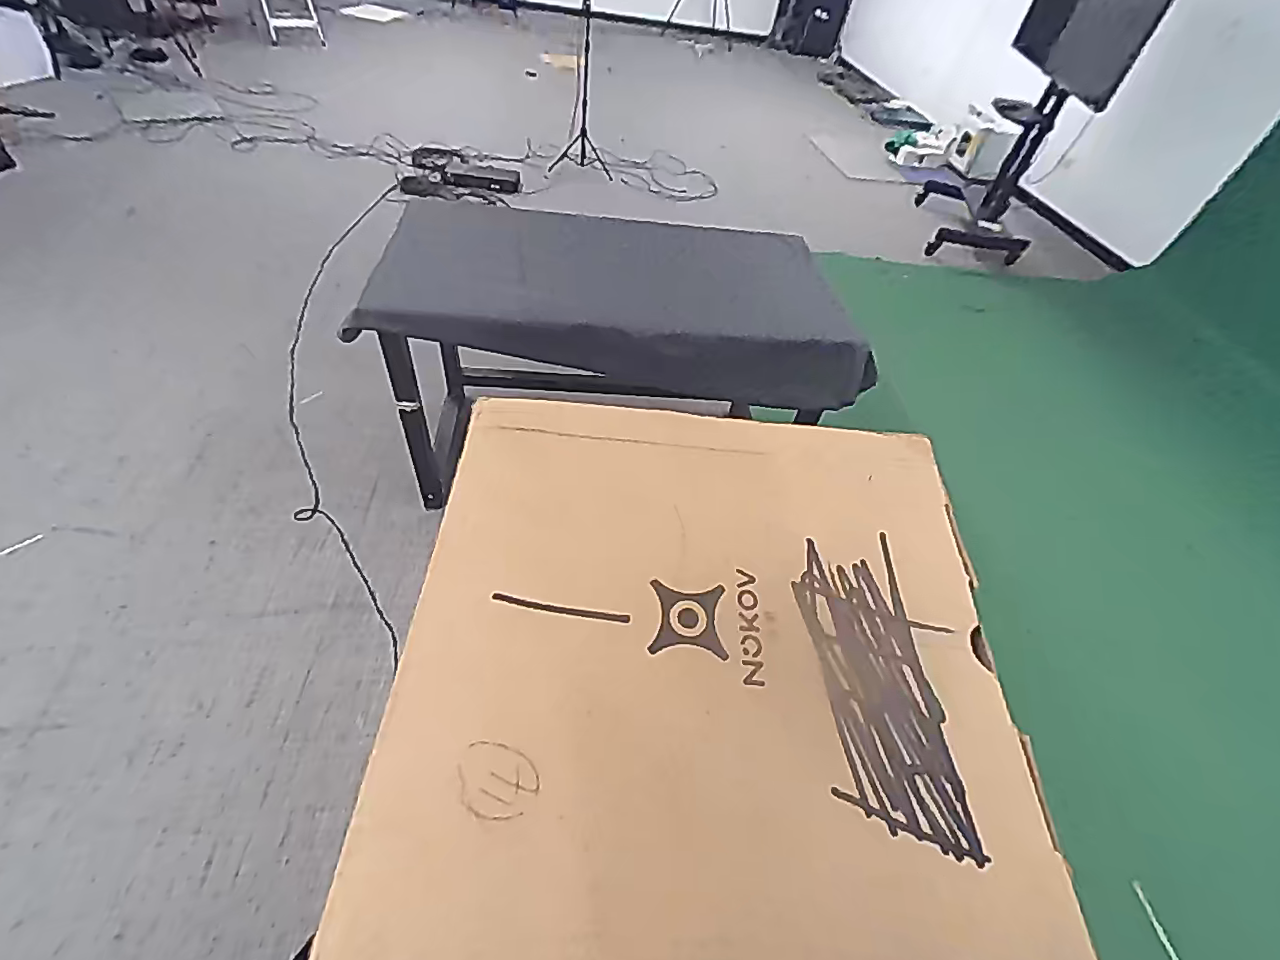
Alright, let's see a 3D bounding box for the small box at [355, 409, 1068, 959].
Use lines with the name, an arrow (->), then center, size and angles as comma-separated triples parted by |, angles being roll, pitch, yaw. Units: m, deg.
small box -> 0.013, 0.092, 0.235 | 0.179, 0.176, 0.168 | 4, 55, -6
